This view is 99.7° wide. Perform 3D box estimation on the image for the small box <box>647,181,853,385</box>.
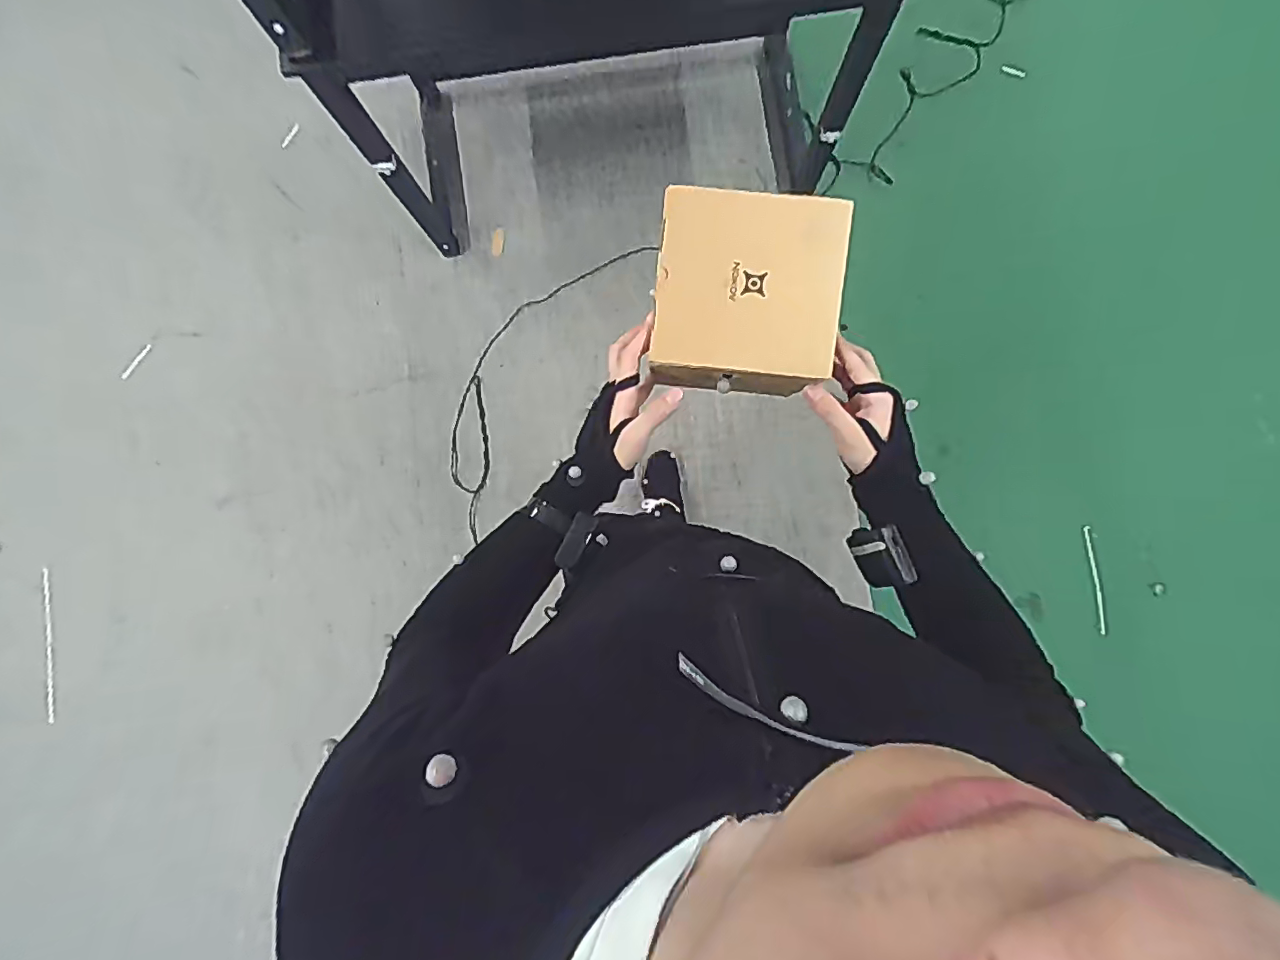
[{"bbox_3d":[0.108,-0.196,0.585,0.179,0.176,0.168,6,95,6],"label":"small box"}]
